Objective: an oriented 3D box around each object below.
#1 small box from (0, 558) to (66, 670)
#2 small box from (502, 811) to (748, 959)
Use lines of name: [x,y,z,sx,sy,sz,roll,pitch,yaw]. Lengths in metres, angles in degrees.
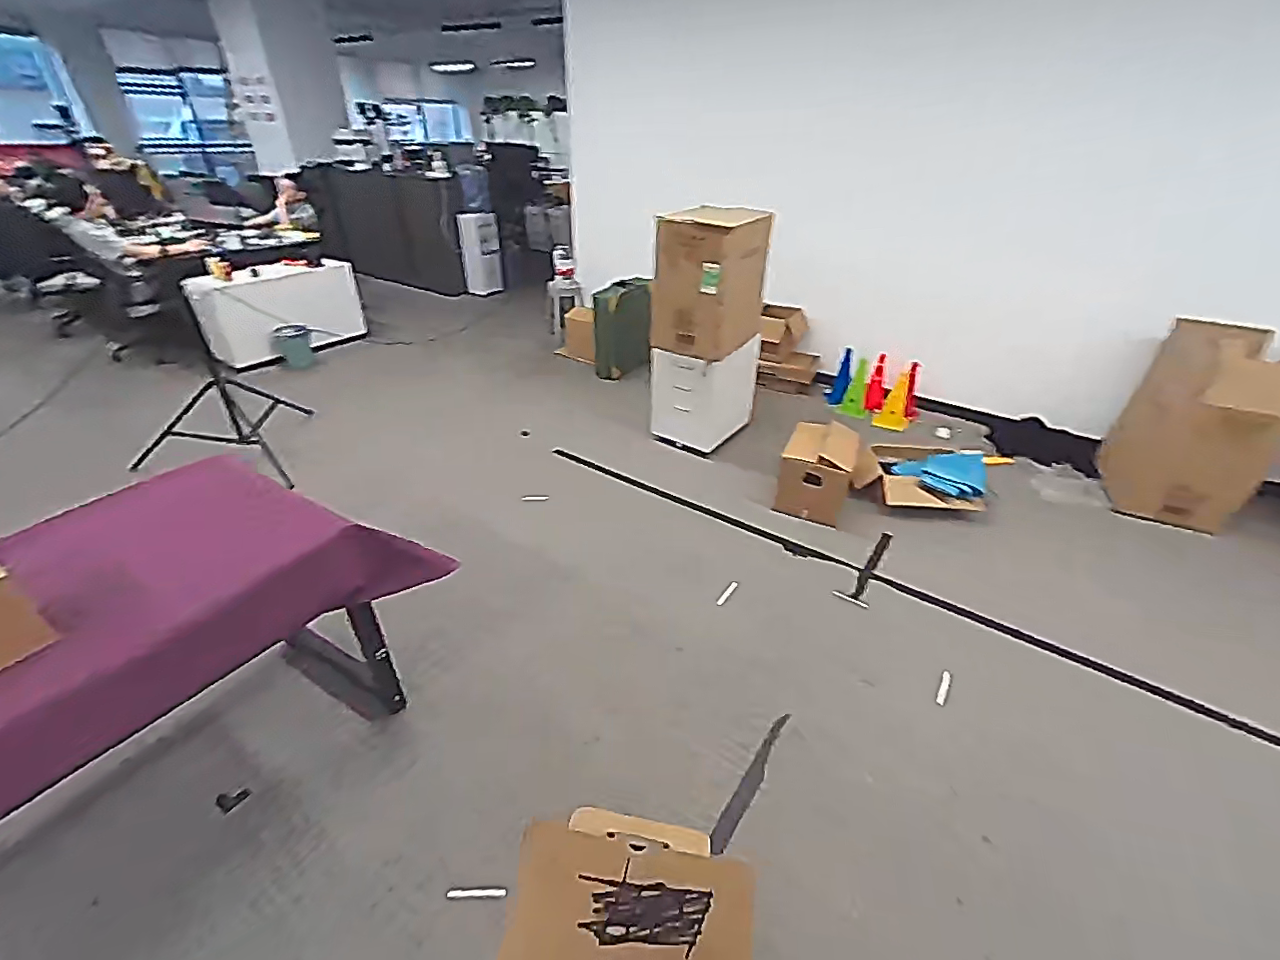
small box: [-1.196,0.250,0.955,0.168,0.176,0.179,18,37,25]
small box: [-0.010,0.387,0.415,0.168,0.176,0.179,4,46,9]
